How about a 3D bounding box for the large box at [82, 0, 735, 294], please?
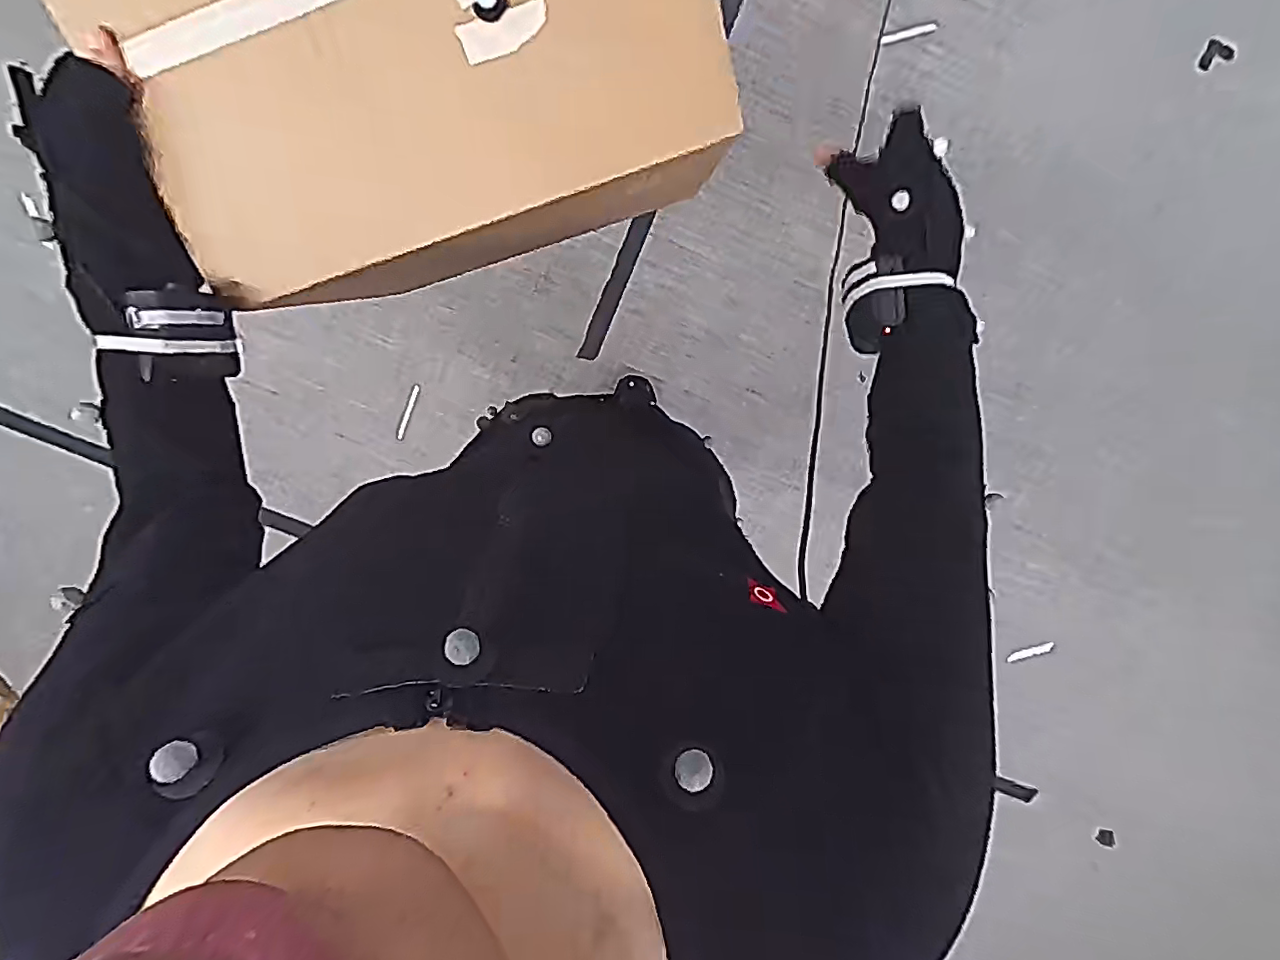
[{"bbox_3d":[-0.167,-0.386,0.486,0.408,0.320,0.320,-16,111,6],"label":"large box"}]
